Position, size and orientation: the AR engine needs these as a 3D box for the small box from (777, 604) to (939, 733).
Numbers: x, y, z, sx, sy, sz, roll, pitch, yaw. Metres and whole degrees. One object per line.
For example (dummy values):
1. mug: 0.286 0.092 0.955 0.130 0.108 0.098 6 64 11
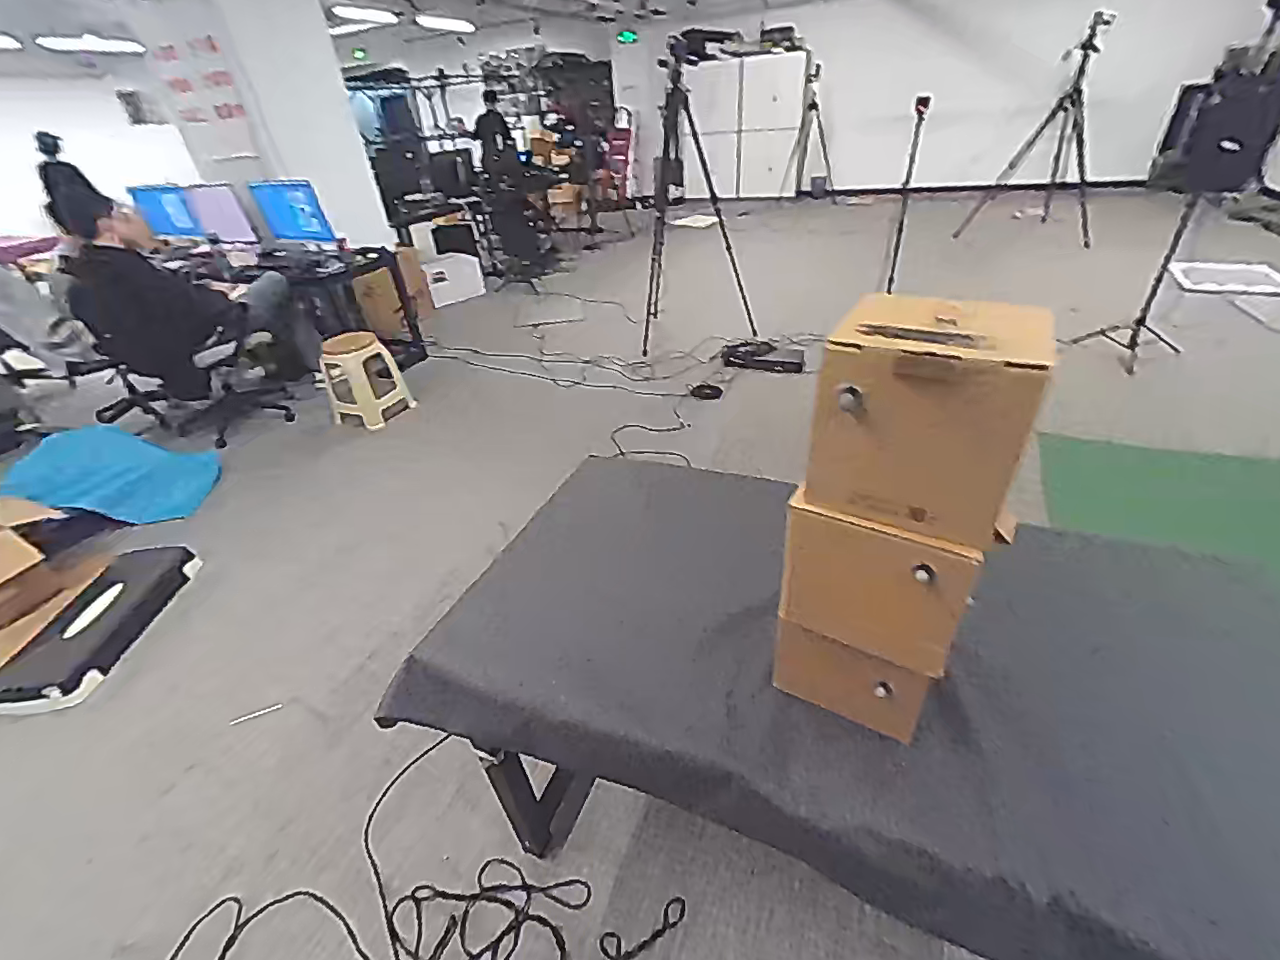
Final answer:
1. small box: 0.294 0.198 0.715 0.179 0.176 0.168 15 38 28

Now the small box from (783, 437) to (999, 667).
1. small box: 0.273 0.075 0.608 0.179 0.176 0.168 17 39 28
